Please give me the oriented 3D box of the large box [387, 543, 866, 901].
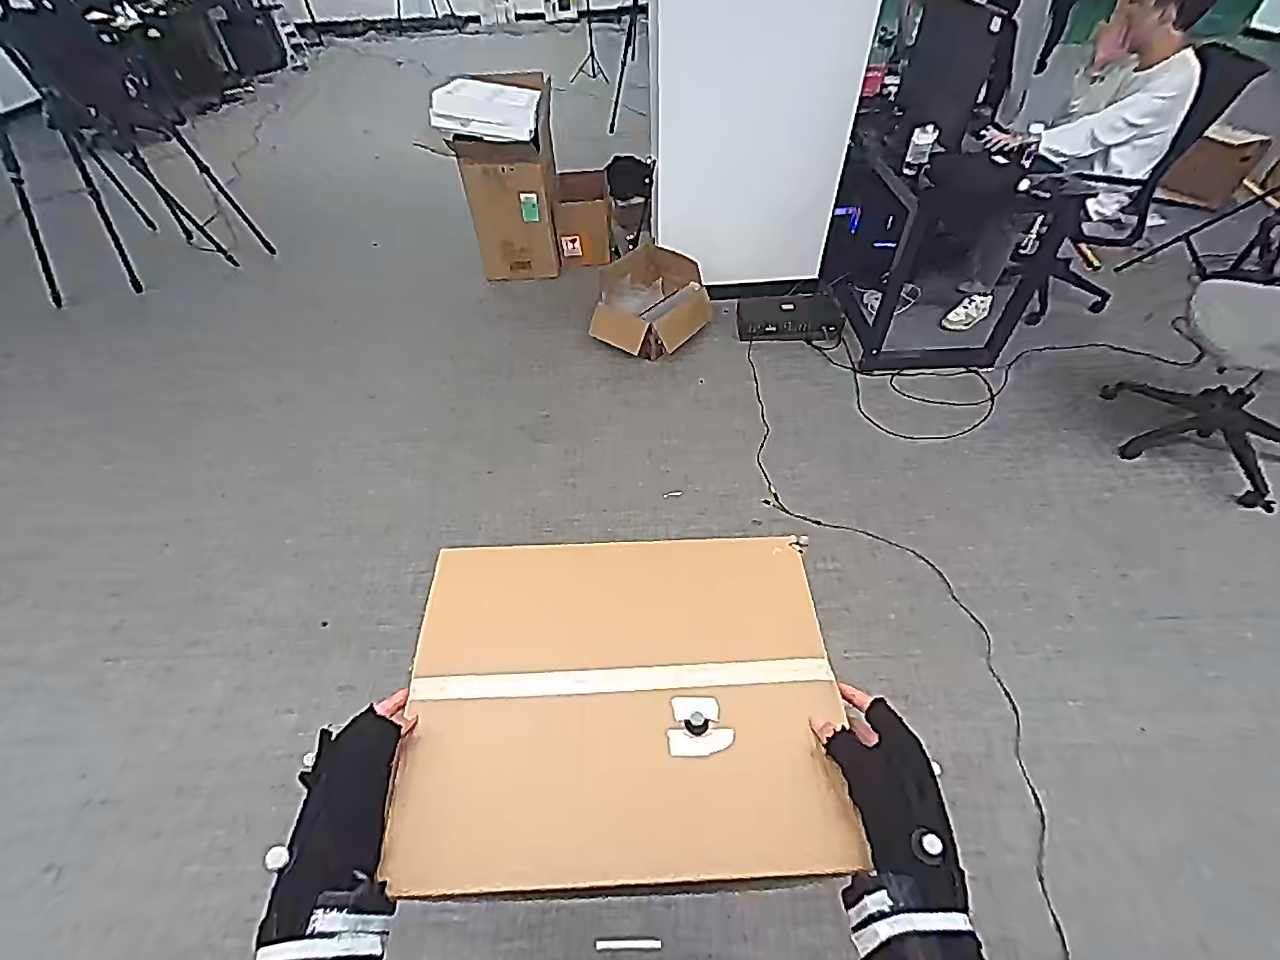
[{"bbox_3d":[-0.016,0.293,0.648,0.408,0.320,0.320,-1,51,-1],"label":"large box"}]
